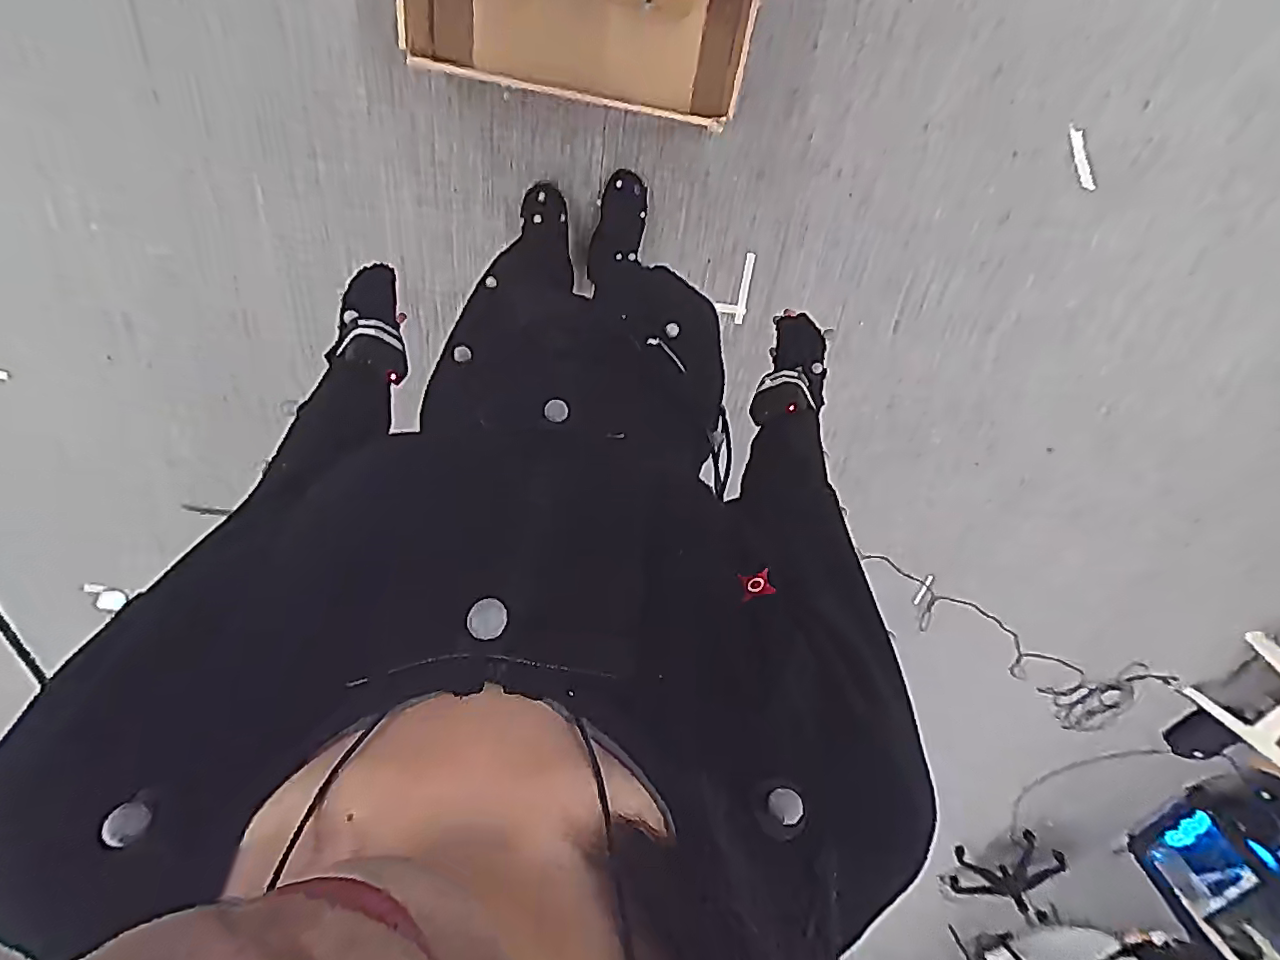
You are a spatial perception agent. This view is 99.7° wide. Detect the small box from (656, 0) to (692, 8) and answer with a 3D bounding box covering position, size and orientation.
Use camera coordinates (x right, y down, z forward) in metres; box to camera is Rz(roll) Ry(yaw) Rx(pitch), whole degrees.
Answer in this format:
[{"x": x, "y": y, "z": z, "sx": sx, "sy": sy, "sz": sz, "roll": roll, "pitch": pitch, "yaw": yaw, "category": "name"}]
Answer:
[{"x": 0.030, "y": -0.944, "z": 0.922, "sx": 0.168, "sy": 0.176, "sz": 0.179, "roll": 11, "pitch": 123, "yaw": -4, "category": "small box"}]
